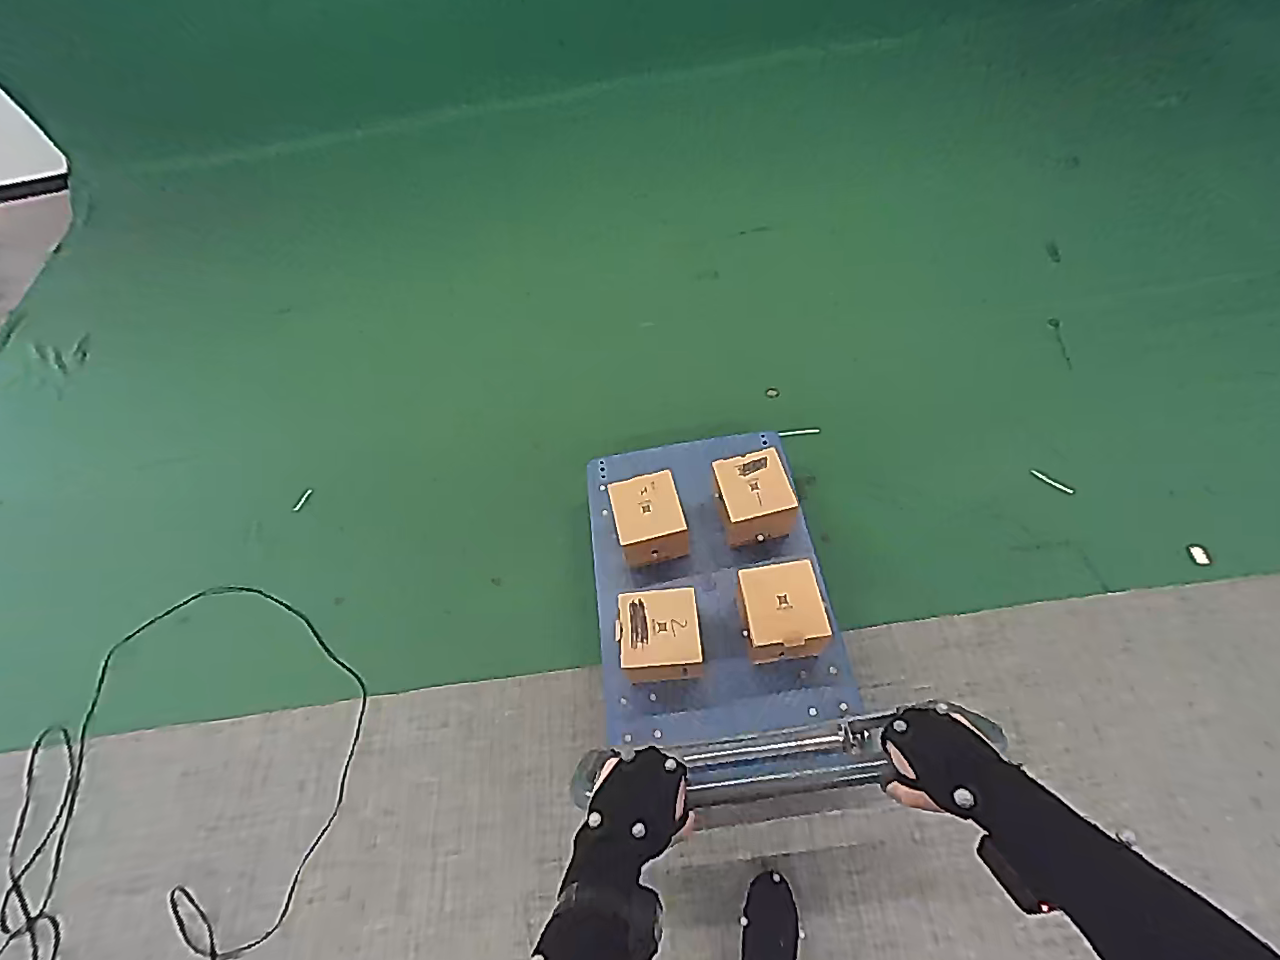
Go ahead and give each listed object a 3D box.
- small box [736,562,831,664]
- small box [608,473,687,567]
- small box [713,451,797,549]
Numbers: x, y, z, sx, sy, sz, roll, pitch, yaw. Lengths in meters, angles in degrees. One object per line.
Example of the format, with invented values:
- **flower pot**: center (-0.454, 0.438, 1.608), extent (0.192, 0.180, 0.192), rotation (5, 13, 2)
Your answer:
- **small box**: center (0.319, 0.309, 1.243), extent (0.168, 0.176, 0.179), rotation (-9, 60, 2)
- **small box**: center (0.023, 0.111, 1.392), extent (0.168, 0.176, 0.179), rotation (-13, 59, -2)
- **small box**: center (0.287, 0.056, 1.392), extent (0.168, 0.176, 0.179), rotation (-14, 60, 0)
